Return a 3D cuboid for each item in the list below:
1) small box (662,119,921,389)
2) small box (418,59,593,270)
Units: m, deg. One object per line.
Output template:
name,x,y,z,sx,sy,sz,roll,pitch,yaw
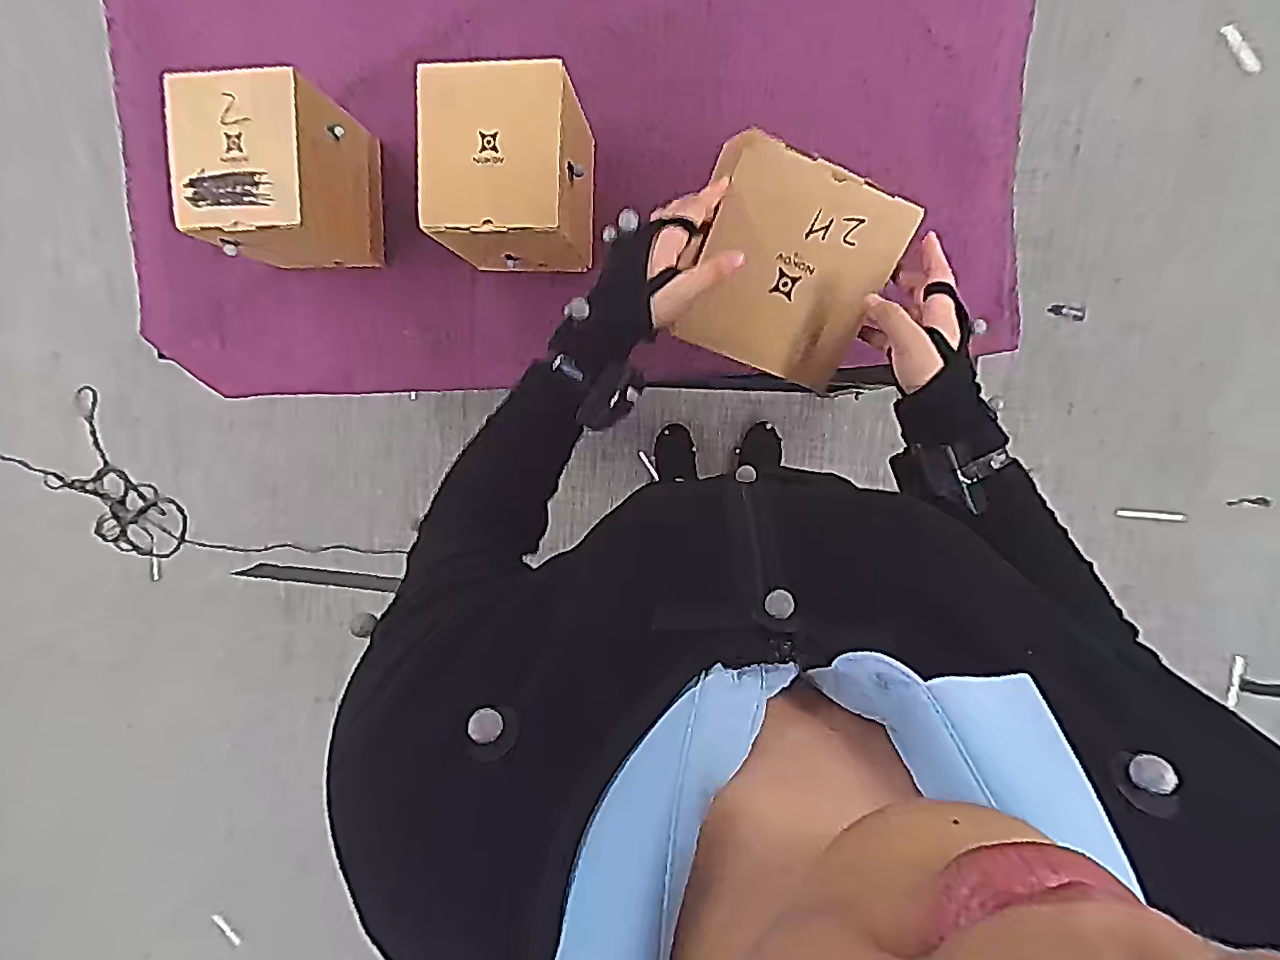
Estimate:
small box,0.131,-0.224,0.546,0.168,0.176,0.179,22,117,-12
small box,-0.156,-0.375,0.672,0.168,0.176,0.179,3,97,6
